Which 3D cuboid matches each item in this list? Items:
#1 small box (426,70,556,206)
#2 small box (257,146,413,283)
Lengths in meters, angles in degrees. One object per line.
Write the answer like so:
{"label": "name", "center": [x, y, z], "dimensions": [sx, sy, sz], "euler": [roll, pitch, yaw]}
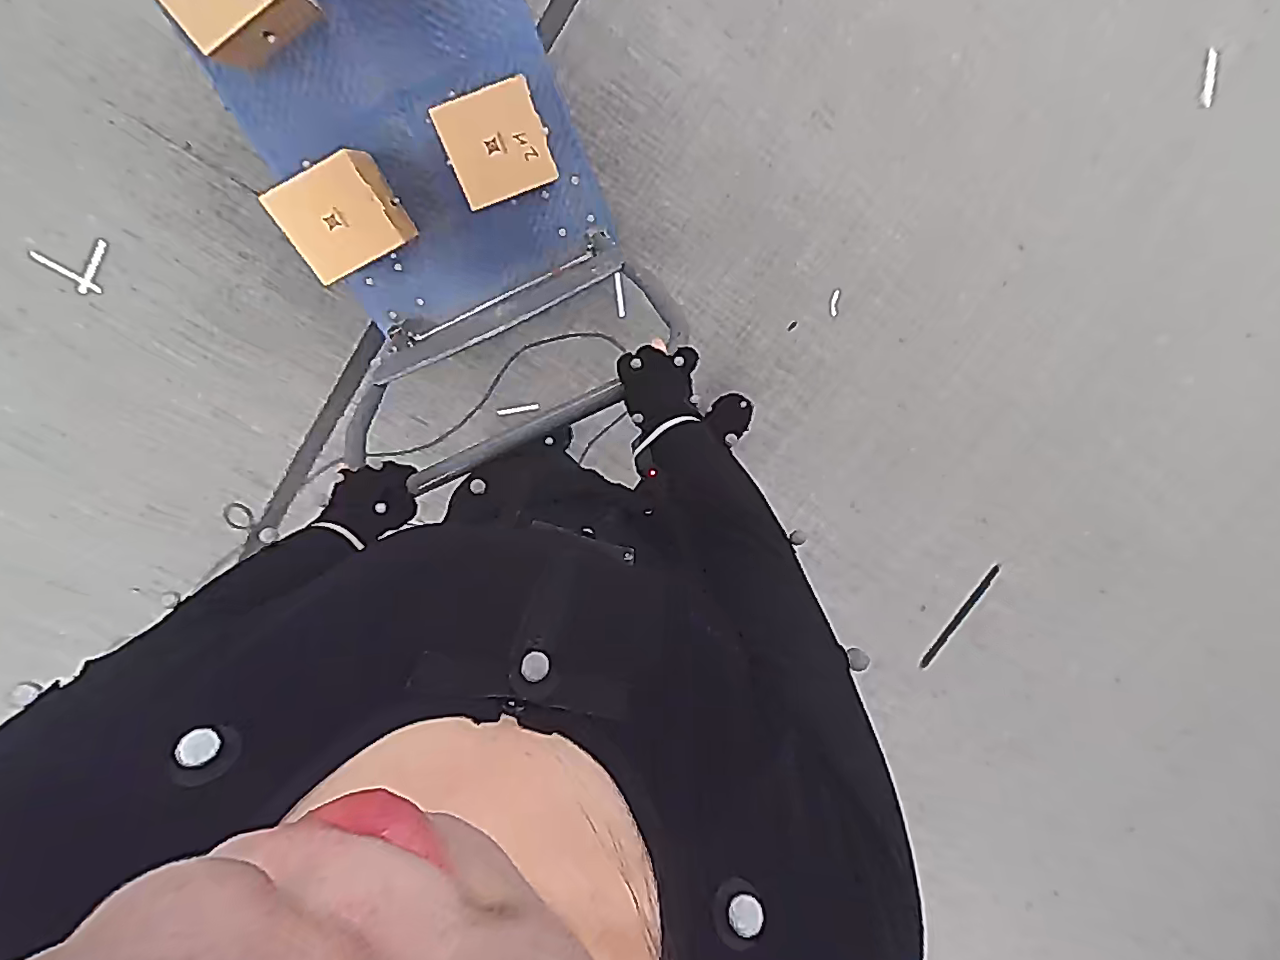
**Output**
{"label": "small box", "center": [-0.270, -0.630, 1.014], "dimensions": [0.179, 0.176, 0.168], "euler": [-22, 122, -1]}
{"label": "small box", "center": [-0.559, -0.498, 1.021], "dimensions": [0.179, 0.176, 0.168], "euler": [-29, 121, 3]}
